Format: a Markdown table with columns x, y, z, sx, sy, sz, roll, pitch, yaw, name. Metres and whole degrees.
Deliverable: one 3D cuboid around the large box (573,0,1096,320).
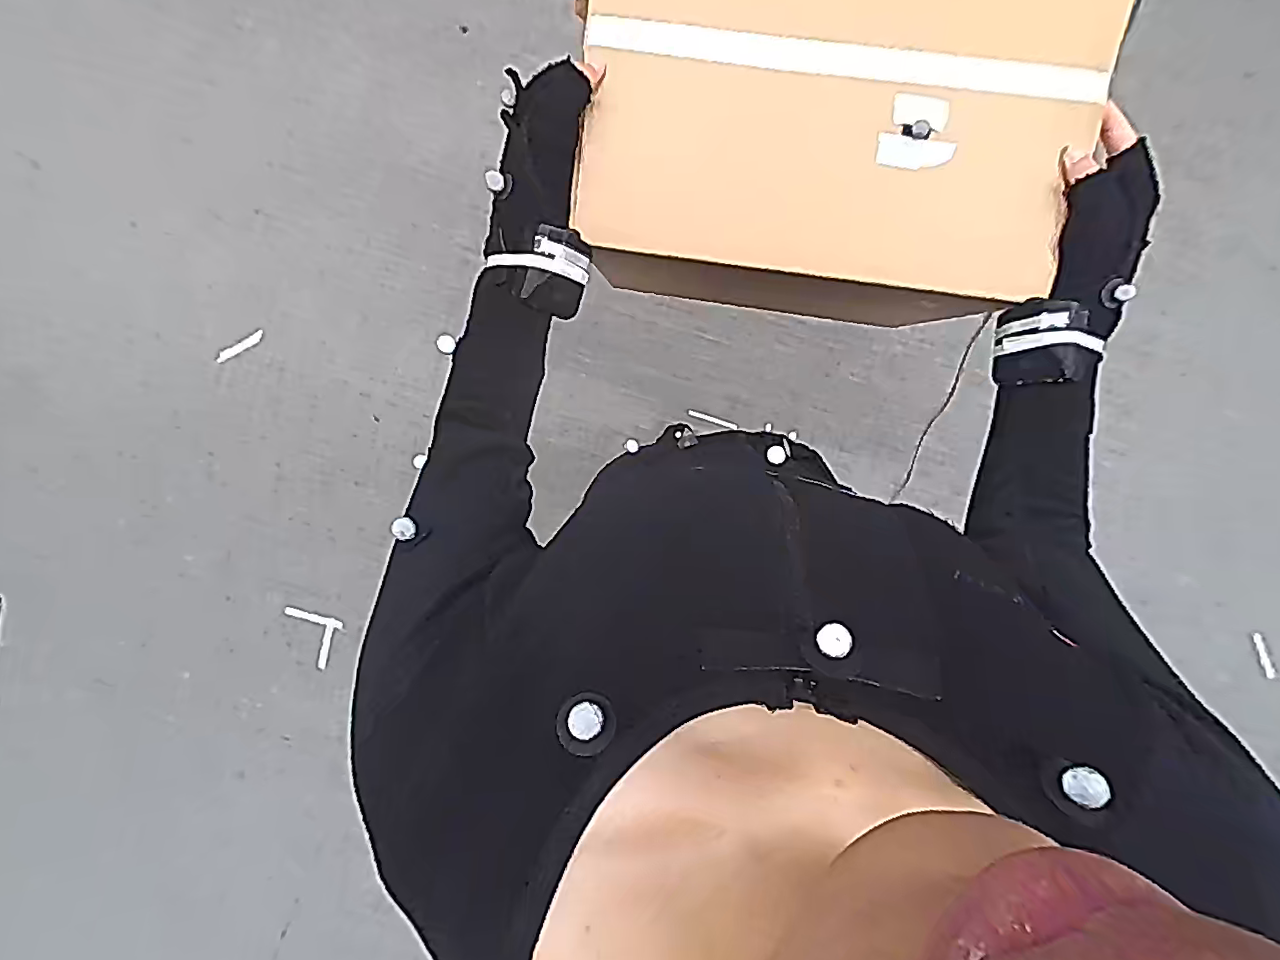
| x | y | z | sx | sy | sz | roll | pitch | yaw | name |
| --- | --- | --- | --- | --- | --- | --- | --- | --- | --- |
| 0.157 | -0.363 | 0.588 | 0.408 | 0.320 | 0.320 | 7 | 103 | 2 | large box |
